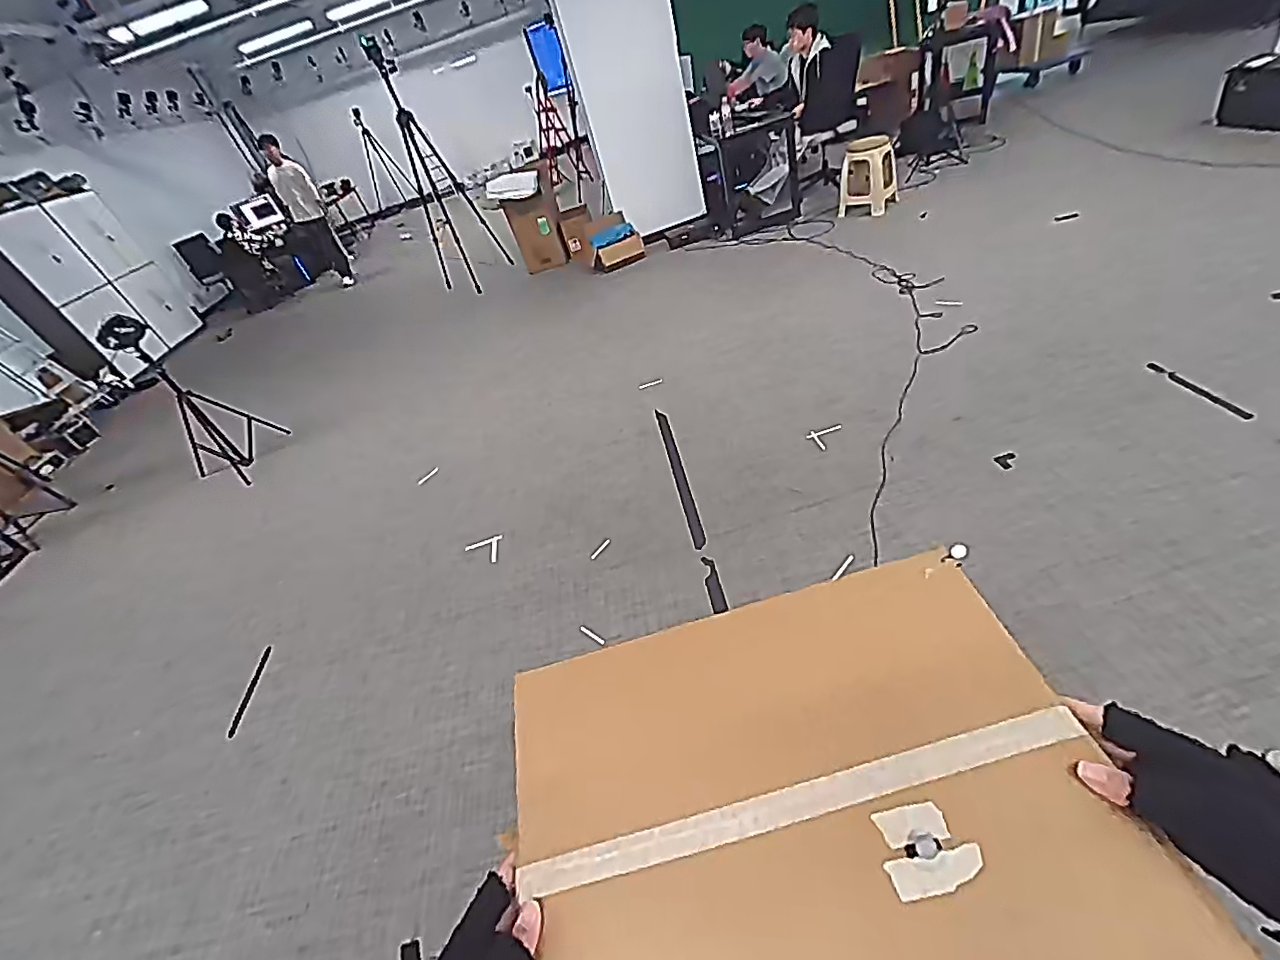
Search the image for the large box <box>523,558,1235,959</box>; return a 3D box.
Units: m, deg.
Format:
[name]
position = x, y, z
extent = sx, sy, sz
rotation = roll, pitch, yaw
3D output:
[large box]
position = 0.141, 0.333, 0.499
extent = 0.408, 0.320, 0.320
rotation = -17, 46, 0
